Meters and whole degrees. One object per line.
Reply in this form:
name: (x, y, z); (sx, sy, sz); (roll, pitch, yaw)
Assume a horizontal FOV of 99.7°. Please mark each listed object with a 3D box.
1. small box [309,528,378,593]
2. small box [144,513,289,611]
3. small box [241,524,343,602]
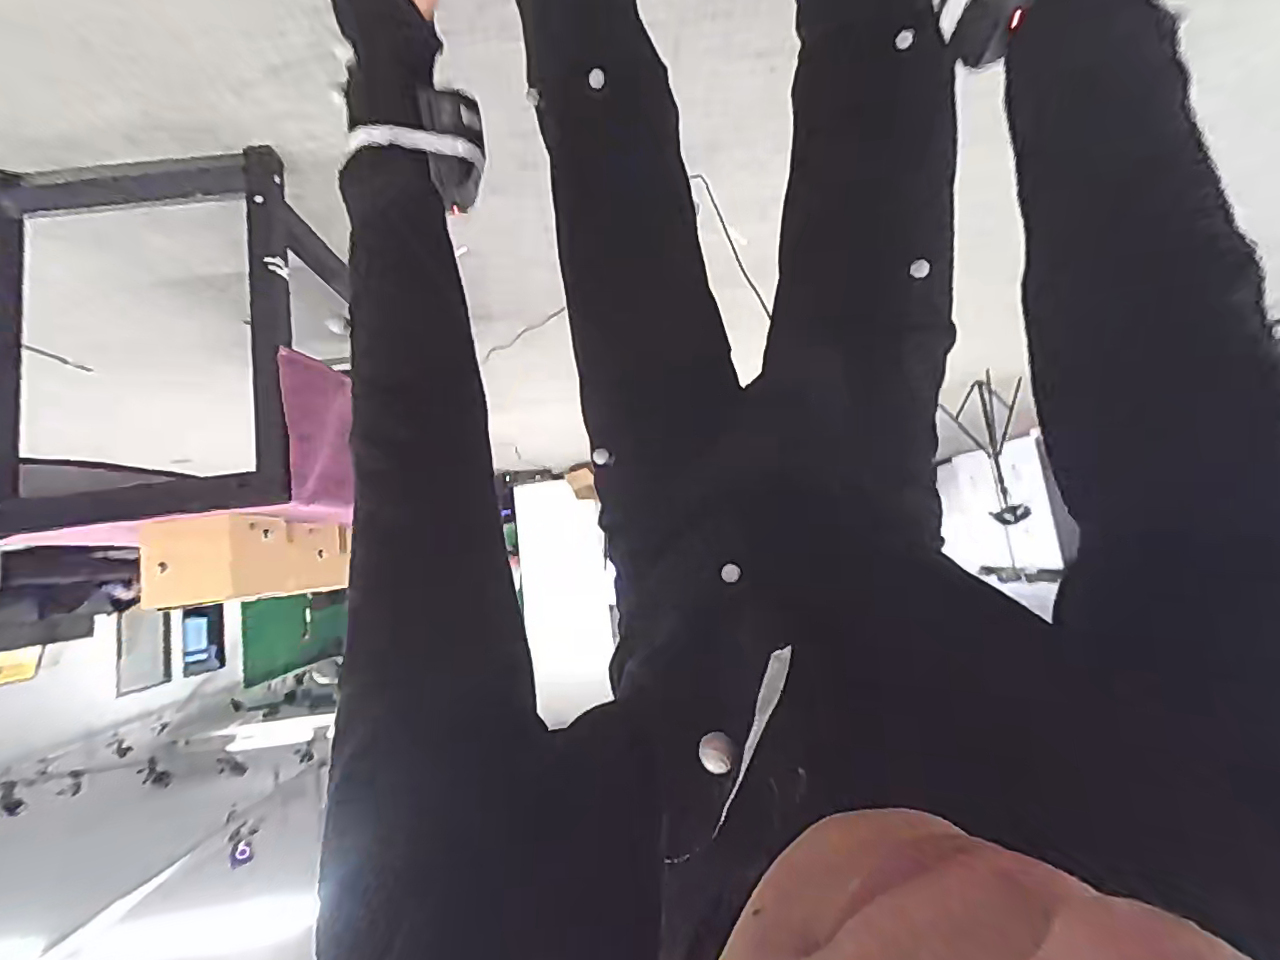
small box: (-0.915, 0.242, 1.624); (0.179, 0.176, 0.168); (-9, 173, 0)
small box: (-0.857, 0.166, 1.106); (0.179, 0.176, 0.168); (-8, 173, 0)
small box: (-0.891, 0.207, 1.373); (0.179, 0.176, 0.168); (-8, 172, 6)
